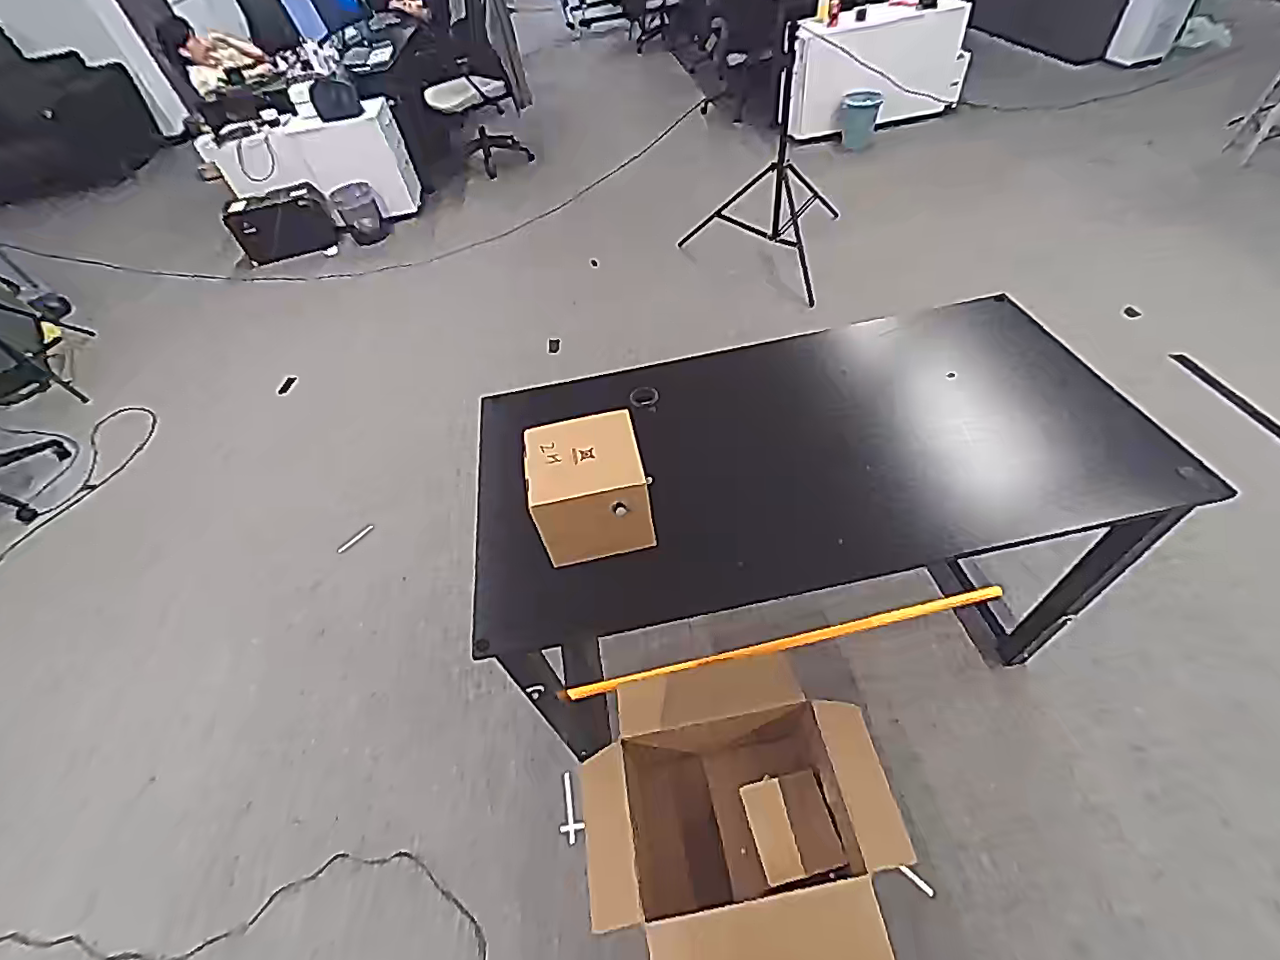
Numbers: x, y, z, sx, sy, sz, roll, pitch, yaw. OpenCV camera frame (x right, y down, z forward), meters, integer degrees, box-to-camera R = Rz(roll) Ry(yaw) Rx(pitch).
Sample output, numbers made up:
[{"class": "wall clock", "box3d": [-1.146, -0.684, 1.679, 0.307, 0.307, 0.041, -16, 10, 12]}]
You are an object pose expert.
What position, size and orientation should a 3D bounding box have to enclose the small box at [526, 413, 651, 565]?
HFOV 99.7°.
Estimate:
[{"class": "small box", "box3d": [-0.081, 0.019, 0.893, 0.179, 0.176, 0.168, -12, 49, -2]}]
